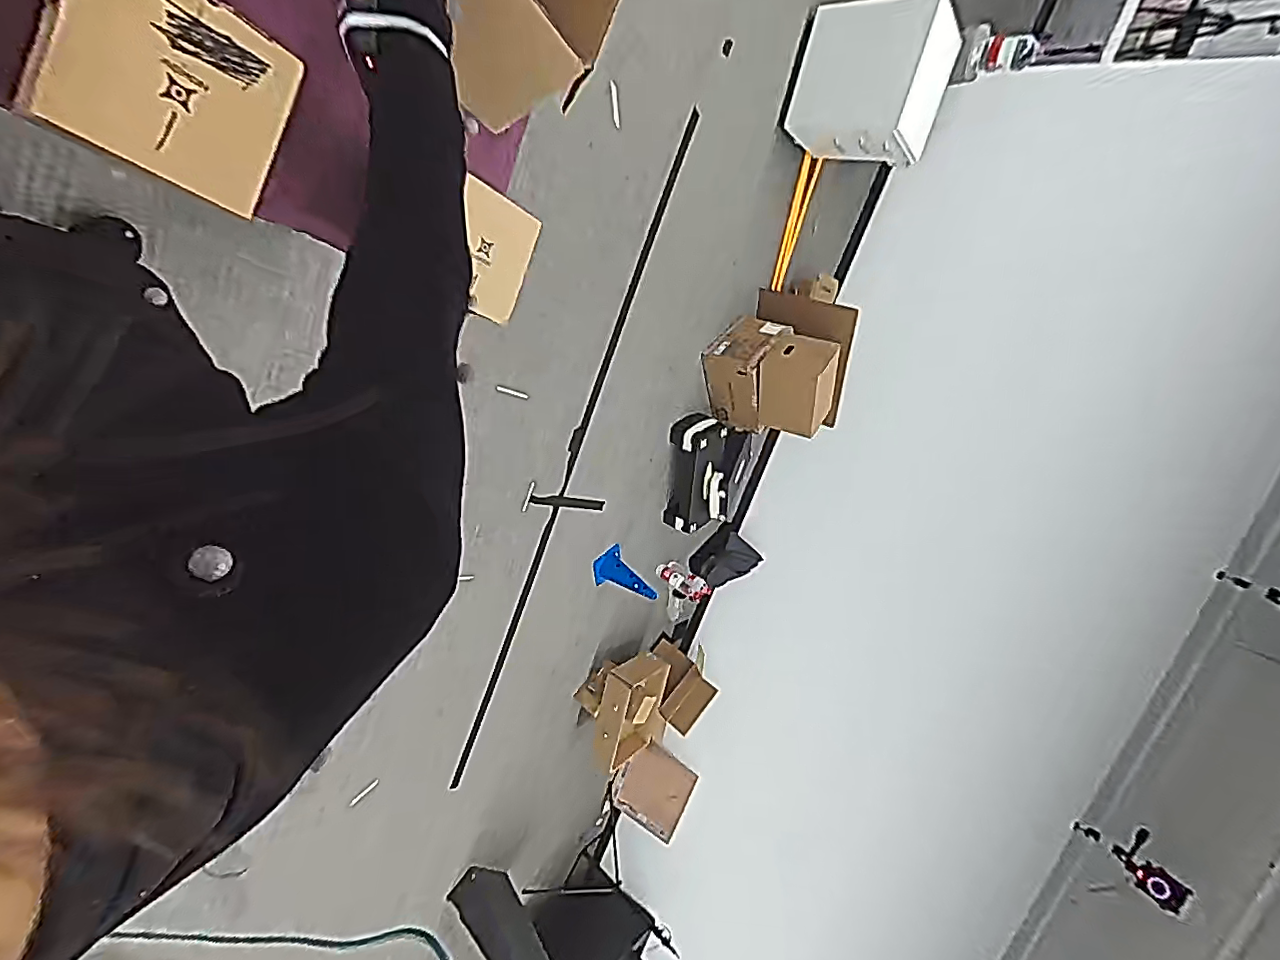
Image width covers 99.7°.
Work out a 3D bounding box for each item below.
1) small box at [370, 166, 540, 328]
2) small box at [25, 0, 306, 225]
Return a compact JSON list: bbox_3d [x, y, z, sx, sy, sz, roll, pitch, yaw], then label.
[{"bbox_3d":[-0.292,-0.364,0.847,0.168,0.176,0.179,11,103,-54],"label":"small box"},{"bbox_3d":[-0.492,-0.399,0.561,0.168,0.176,0.179,17,98,-55],"label":"small box"}]
